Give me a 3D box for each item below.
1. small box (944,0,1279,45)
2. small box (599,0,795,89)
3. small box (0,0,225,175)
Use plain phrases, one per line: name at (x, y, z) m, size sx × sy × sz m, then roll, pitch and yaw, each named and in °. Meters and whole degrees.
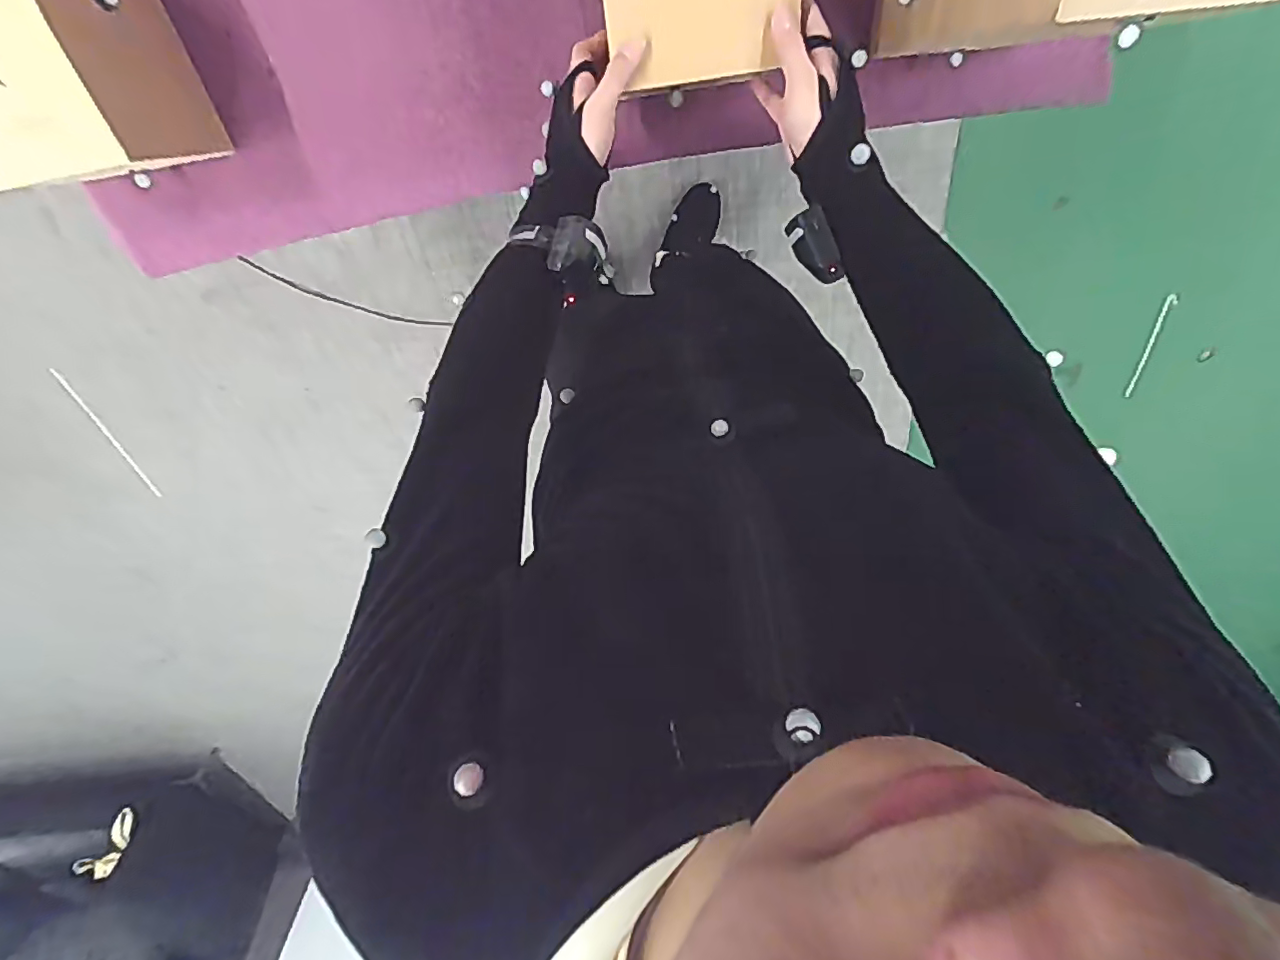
small box at (0.327, -0.405, 0.346) m, size 0.168 × 0.176 × 0.179 m, roll -3°, pitch 124°, yaw 3°
small box at (0.045, -0.473, 0.494) m, size 0.168 × 0.176 × 0.179 m, roll -6°, pitch 123°, yaw 4°
small box at (-0.578, -0.417, 0.536) m, size 0.168 × 0.176 × 0.179 m, roll -7°, pitch 125°, yaw 5°
